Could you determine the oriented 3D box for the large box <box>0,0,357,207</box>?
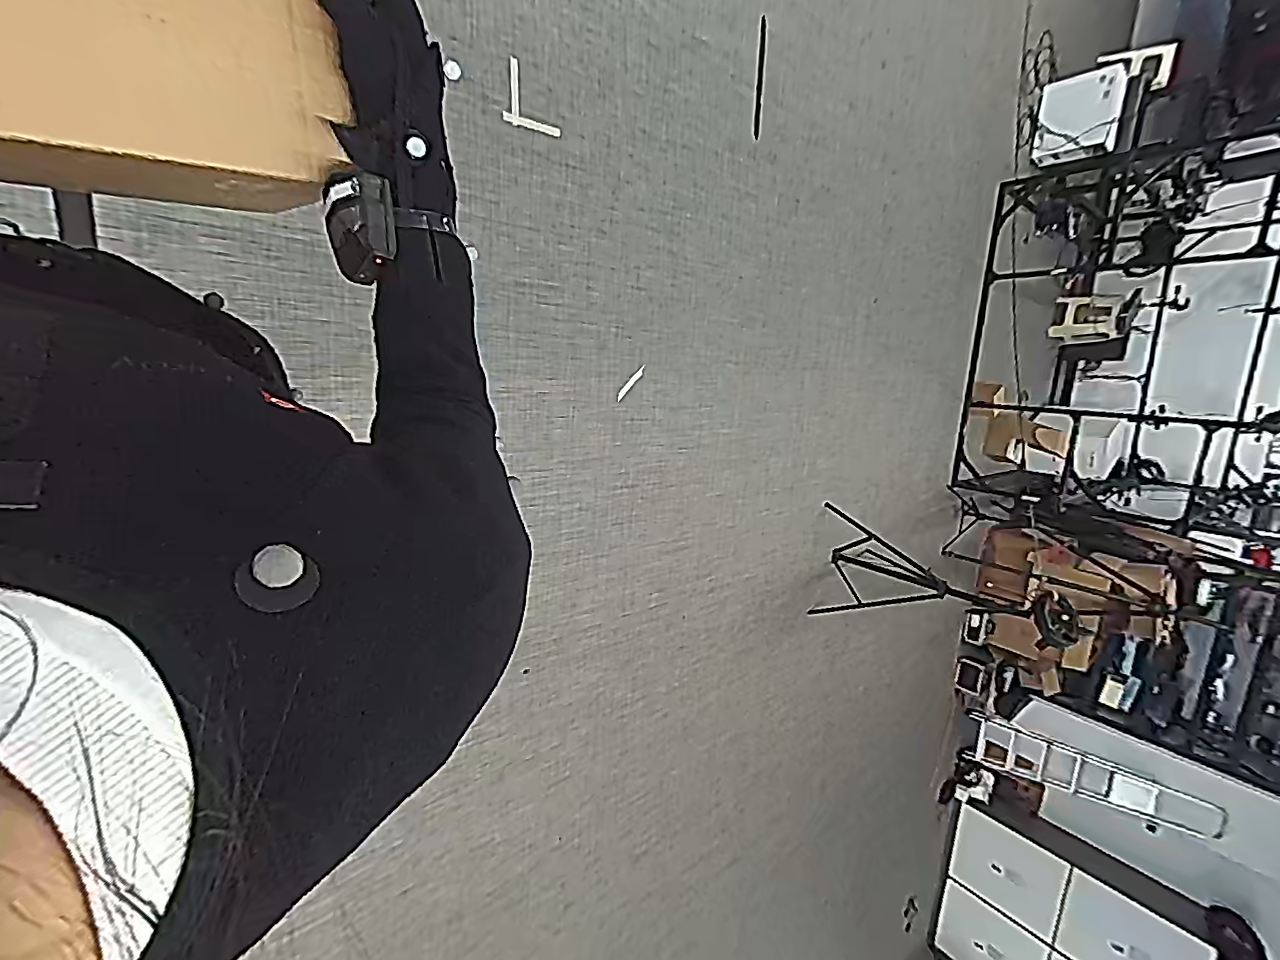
[{"bbox_3d":[-0.458,-0.372,0.337,0.408,0.320,0.320,-15,117,-41],"label":"large box"}]
